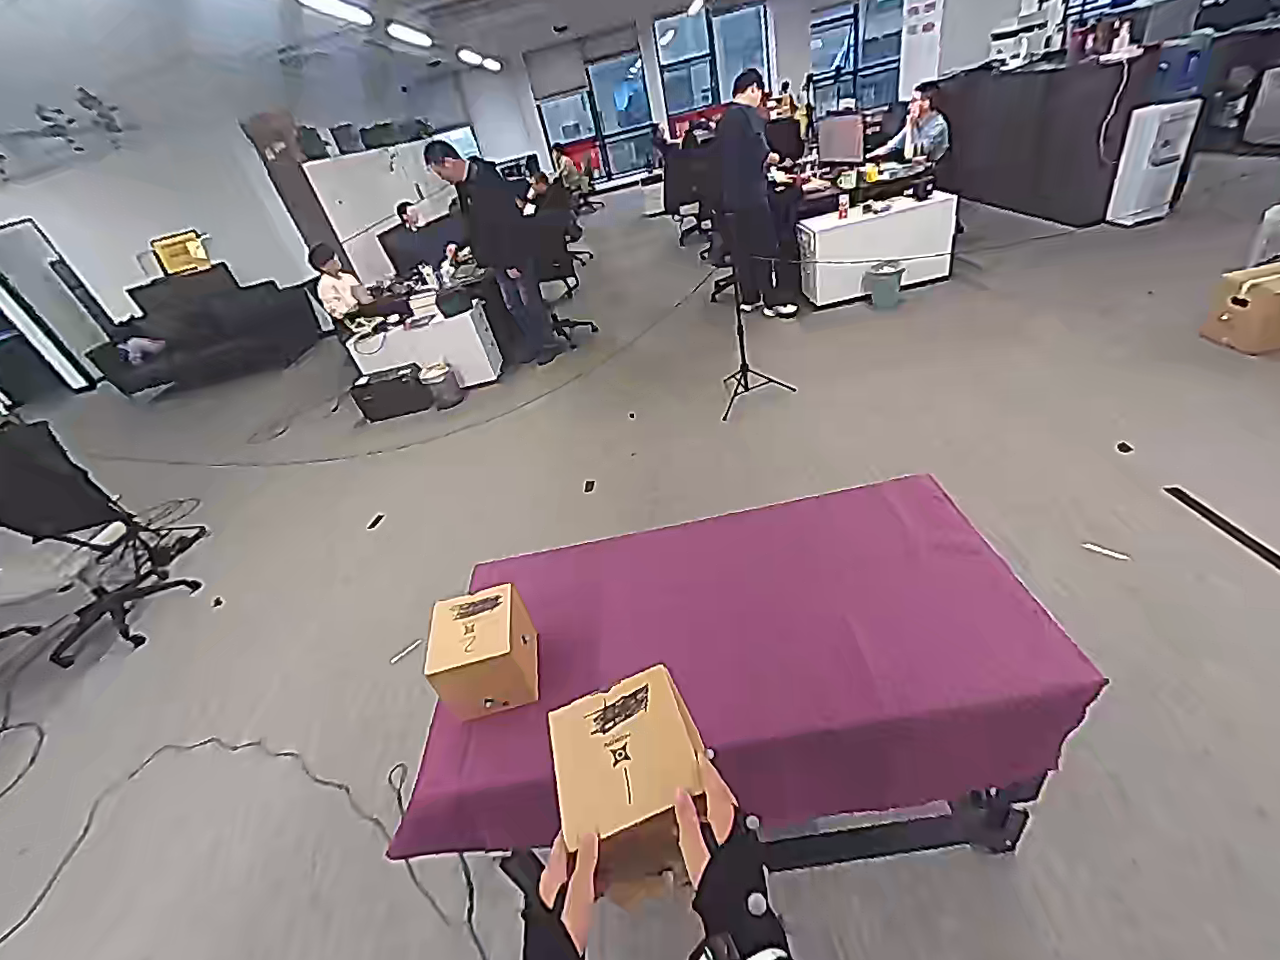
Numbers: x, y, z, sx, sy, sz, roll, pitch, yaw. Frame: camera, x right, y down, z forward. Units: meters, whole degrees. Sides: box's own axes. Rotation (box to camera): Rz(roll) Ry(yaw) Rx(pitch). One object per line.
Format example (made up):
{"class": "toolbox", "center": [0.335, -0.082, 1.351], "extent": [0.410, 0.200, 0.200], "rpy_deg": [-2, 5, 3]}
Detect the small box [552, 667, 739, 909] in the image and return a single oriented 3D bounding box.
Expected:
{"class": "small box", "center": [0.004, 0.378, 0.671], "extent": [0.168, 0.176, 0.179], "rpy_deg": [-24, 32, -1]}
